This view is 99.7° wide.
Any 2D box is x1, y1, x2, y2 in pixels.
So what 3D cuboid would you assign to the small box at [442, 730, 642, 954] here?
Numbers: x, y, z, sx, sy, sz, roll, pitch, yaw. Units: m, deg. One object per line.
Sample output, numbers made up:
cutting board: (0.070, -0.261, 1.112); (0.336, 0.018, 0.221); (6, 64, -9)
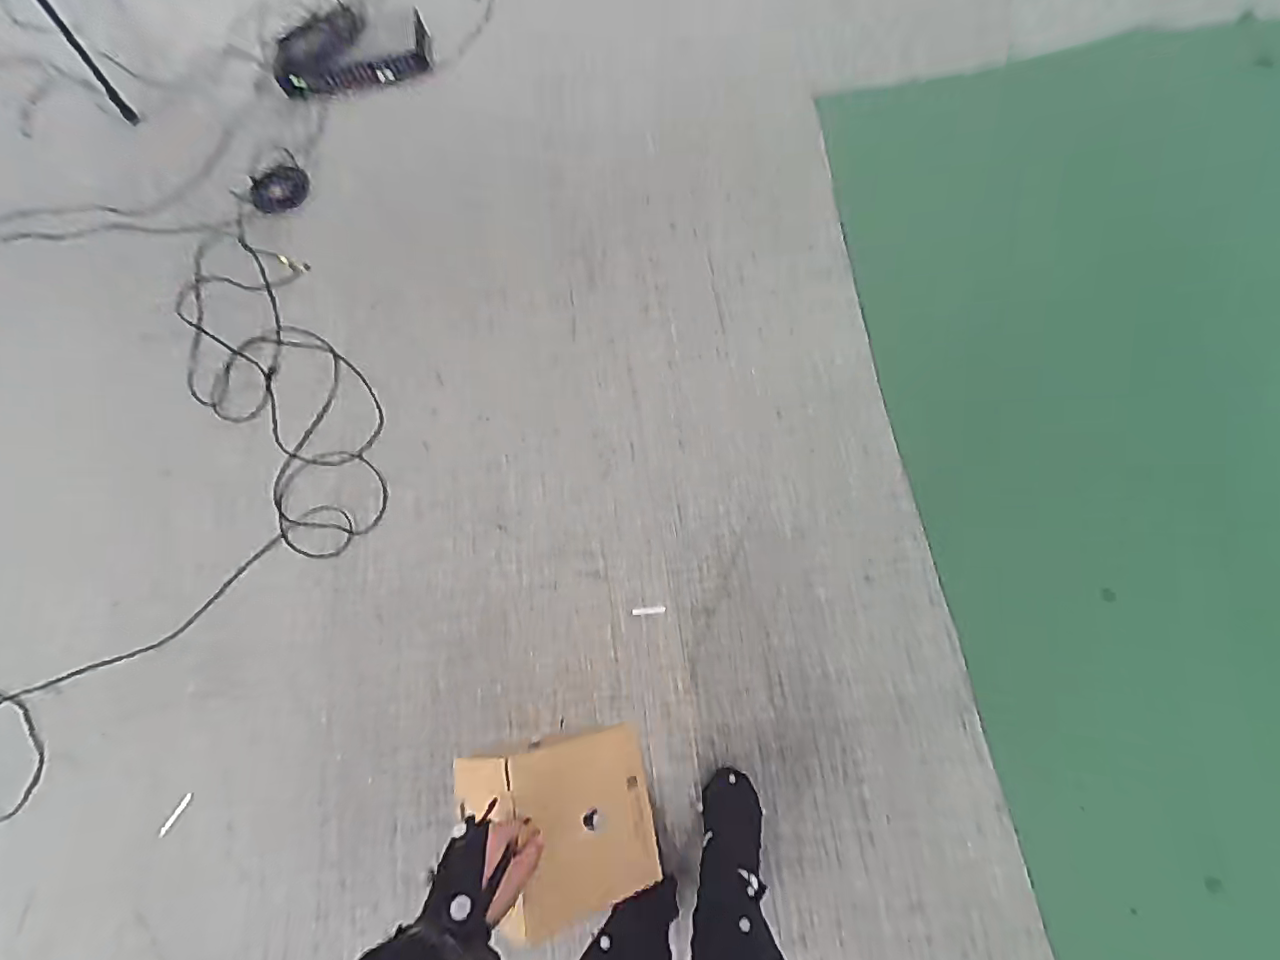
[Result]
small box: (-0.113, 0.407, 0.642); (0.176, 0.179, 0.168); (3, 64, -40)
